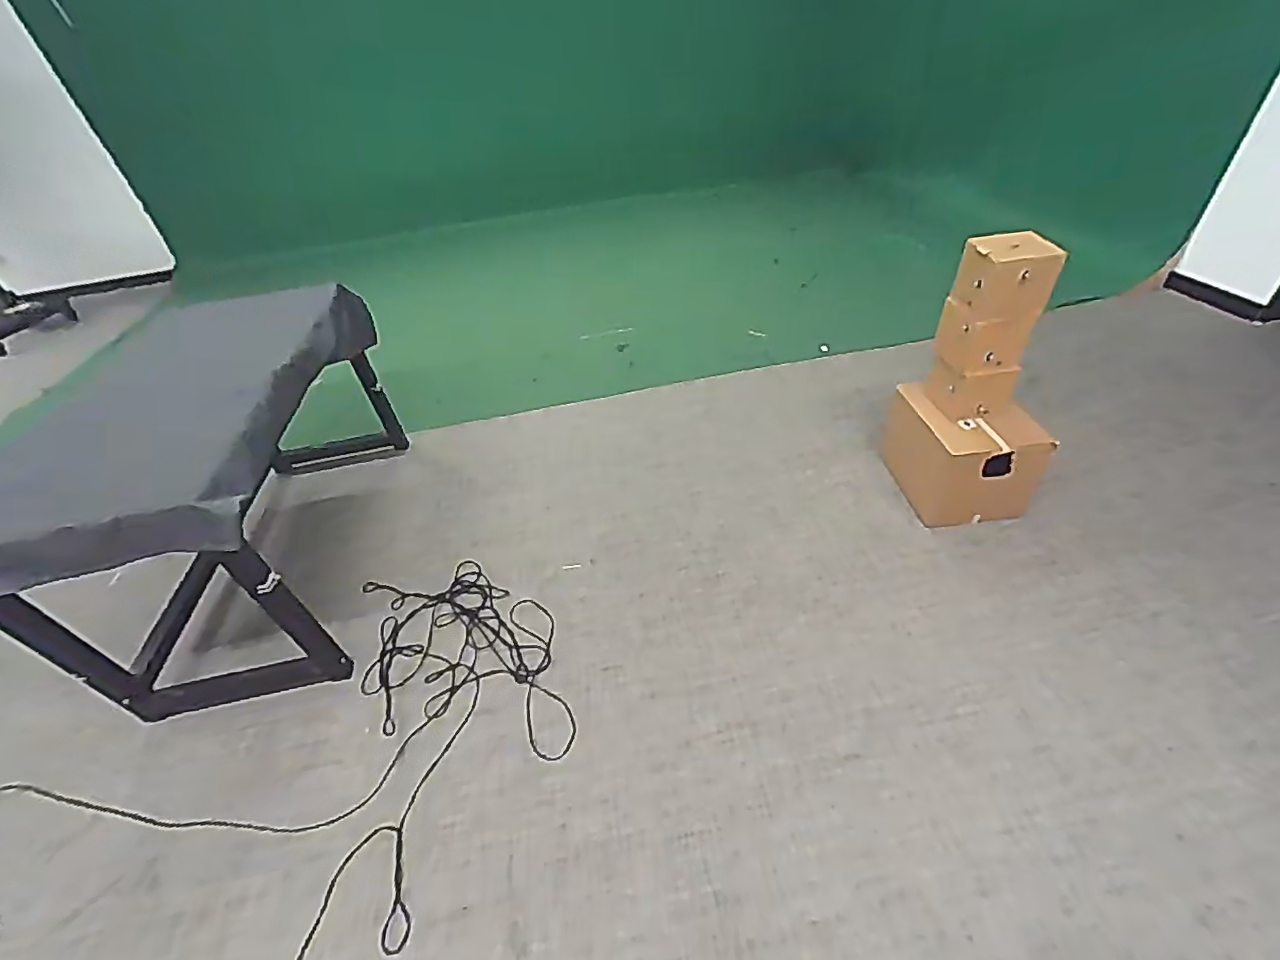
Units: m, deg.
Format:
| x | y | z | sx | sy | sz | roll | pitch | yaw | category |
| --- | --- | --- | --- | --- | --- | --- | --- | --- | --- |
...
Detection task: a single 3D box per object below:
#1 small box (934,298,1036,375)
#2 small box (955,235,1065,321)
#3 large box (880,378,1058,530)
| x | y | z | sx | sy | sz | roll | pitch | yaw | category |
| --- | --- | --- | --- | --- | --- | --- | --- | --- | --- |
| 1.003 | -0.429 | 1.592 | 0.168 | 0.176 | 0.179 | -9 | 42 | -1 | small box |
| 0.998 | -0.551 | 1.484 | 0.179 | 0.176 | 0.168 | -6 | 44 | 0 | small box |
| 1.066 | -0.094 | 1.821 | 0.320 | 0.320 | 0.408 | -8 | 42 | 1 | large box |
